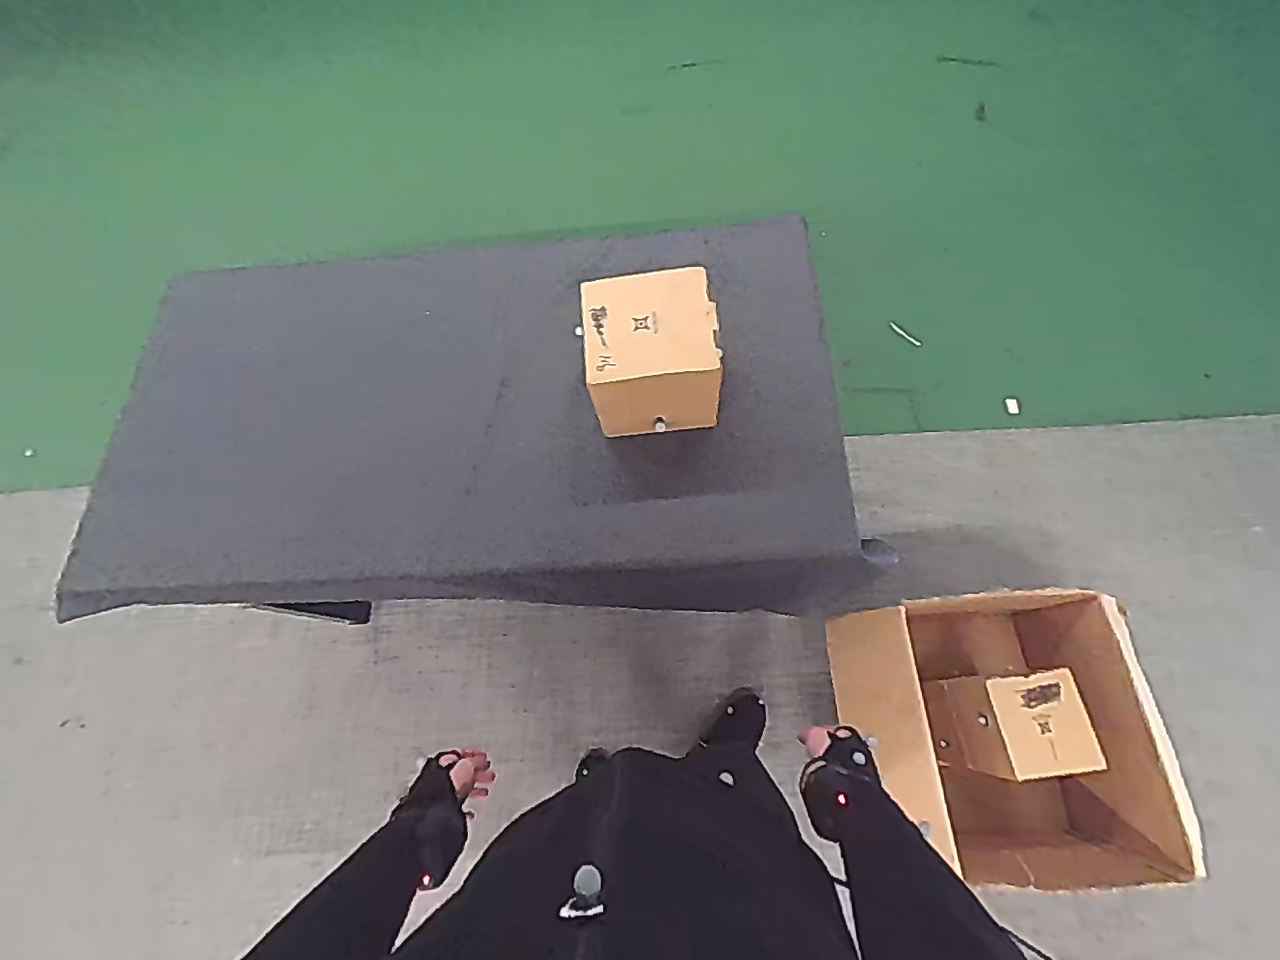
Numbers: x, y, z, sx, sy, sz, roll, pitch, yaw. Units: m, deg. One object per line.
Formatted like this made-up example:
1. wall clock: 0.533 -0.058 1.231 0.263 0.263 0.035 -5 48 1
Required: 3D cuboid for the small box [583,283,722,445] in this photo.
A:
1. small box: 0.019 -0.166 0.814 0.179 0.176 0.168 -8 70 2
